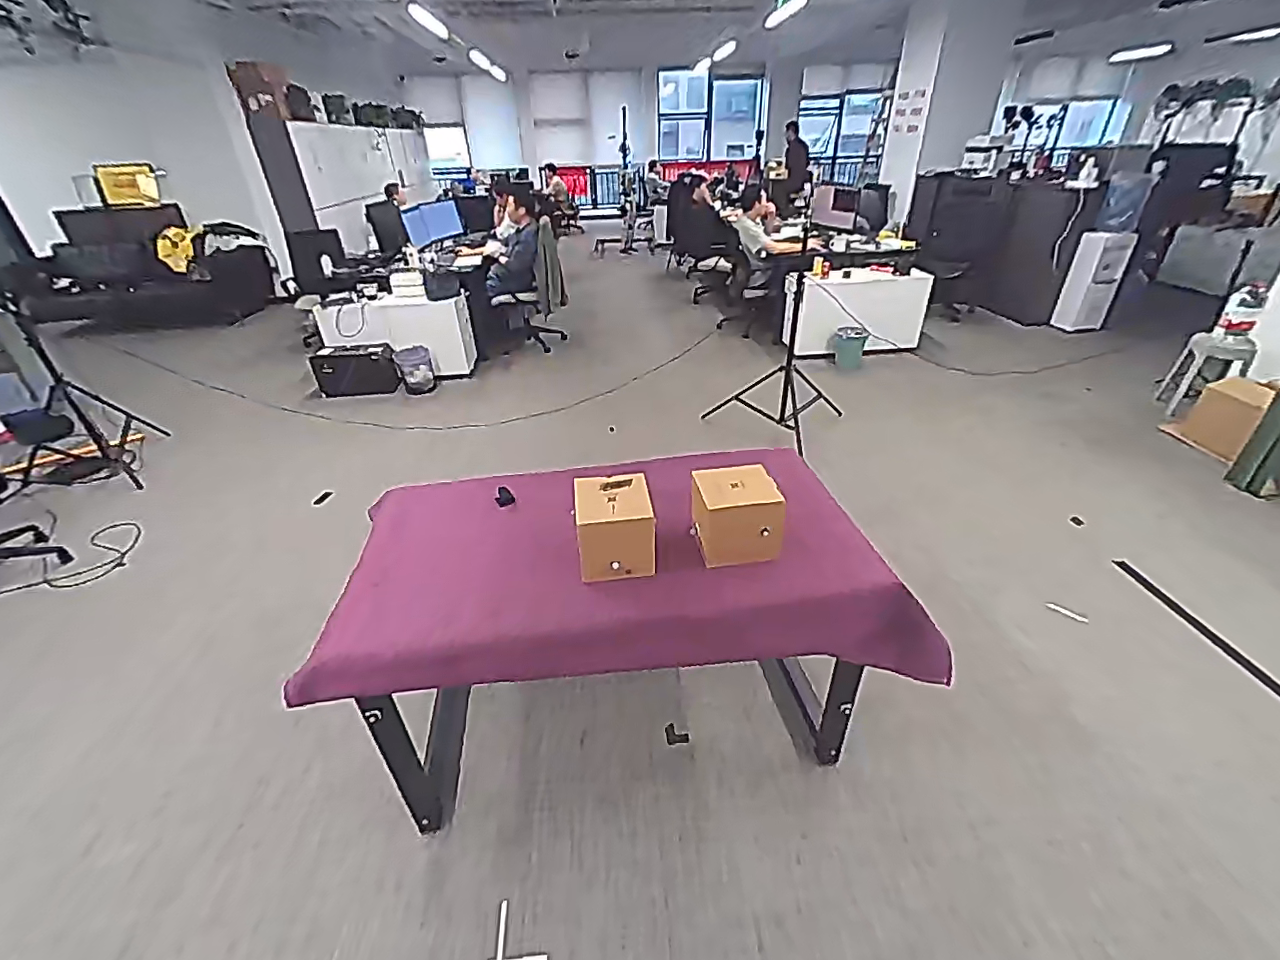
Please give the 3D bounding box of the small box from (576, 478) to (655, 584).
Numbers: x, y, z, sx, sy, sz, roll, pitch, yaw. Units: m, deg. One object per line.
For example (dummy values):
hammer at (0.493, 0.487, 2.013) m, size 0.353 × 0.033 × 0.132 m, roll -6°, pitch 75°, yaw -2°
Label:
small box at (-0.058, 0.115, 1.244) m, size 0.168 × 0.176 × 0.179 m, roll -6°, pitch 32°, yaw -5°

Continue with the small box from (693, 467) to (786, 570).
small box at (0.224, 0.089, 1.270) m, size 0.179 × 0.176 × 0.168 m, roll -8°, pitch 30°, yaw -6°
